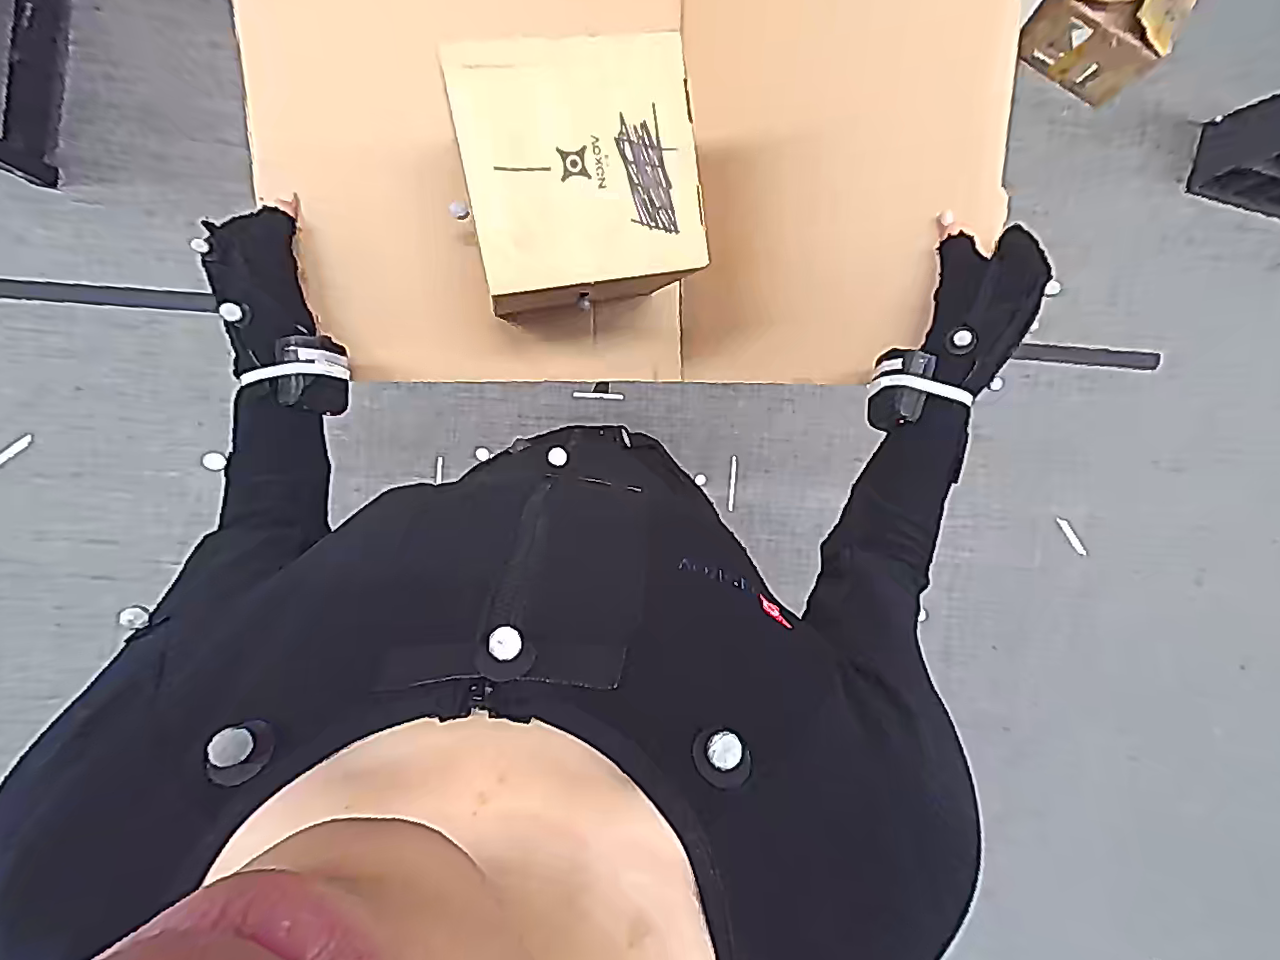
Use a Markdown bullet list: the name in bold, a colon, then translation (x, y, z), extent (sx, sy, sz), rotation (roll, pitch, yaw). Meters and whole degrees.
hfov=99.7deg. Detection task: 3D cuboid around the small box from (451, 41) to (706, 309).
- **small box**: translation (-0.058, -0.253, 0.484), extent (0.179, 0.176, 0.168), rotation (-12, 104, -12)
